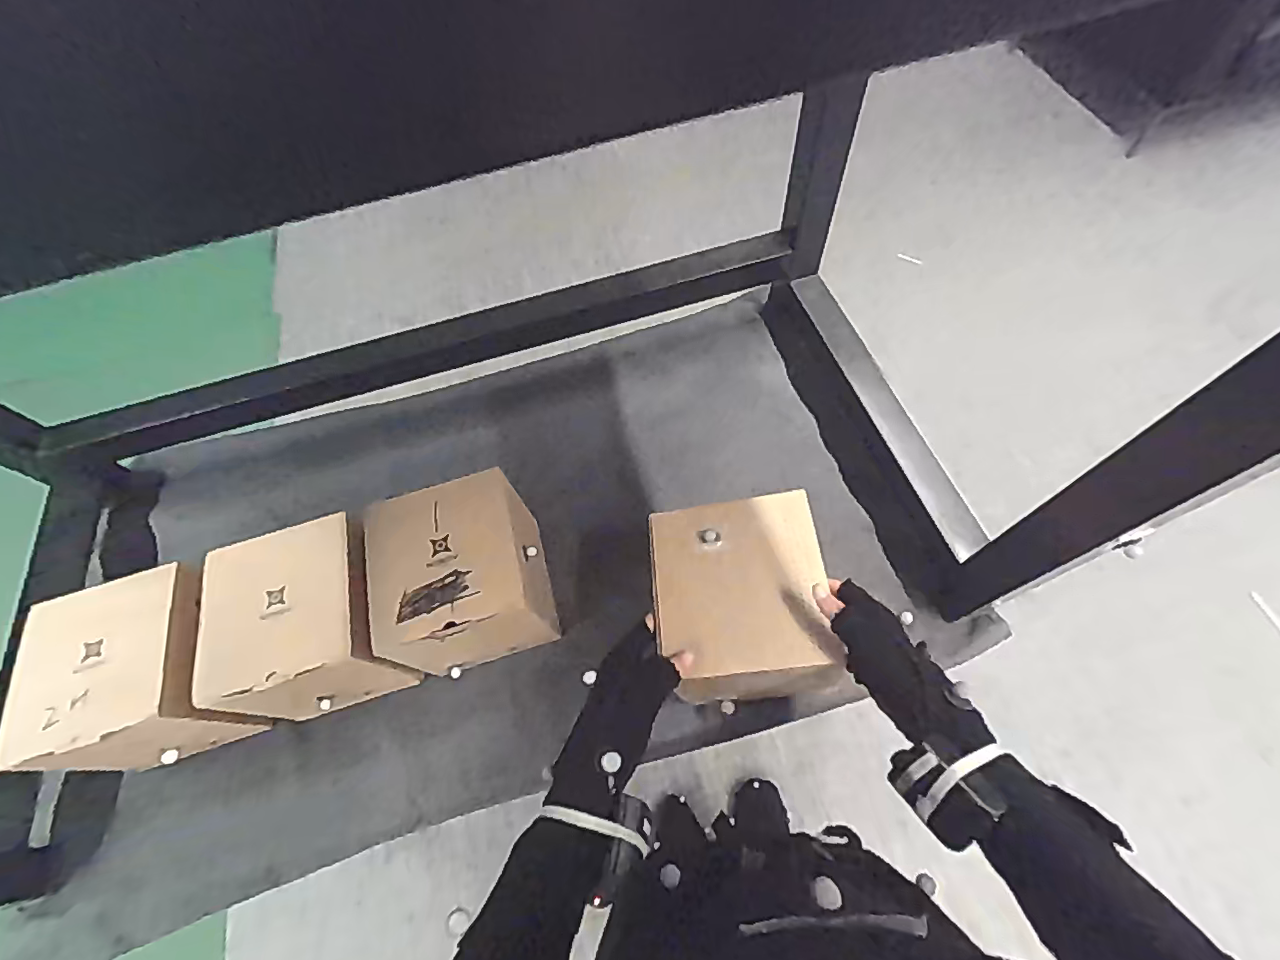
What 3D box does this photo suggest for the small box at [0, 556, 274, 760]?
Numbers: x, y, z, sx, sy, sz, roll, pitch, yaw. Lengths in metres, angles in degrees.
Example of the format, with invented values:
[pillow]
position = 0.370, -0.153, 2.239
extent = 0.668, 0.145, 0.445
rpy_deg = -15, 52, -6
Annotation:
[small box]
position = -0.572, 0.218, 0.644
extent = 0.168, 0.176, 0.179
rpy_deg = -18, 62, -3
